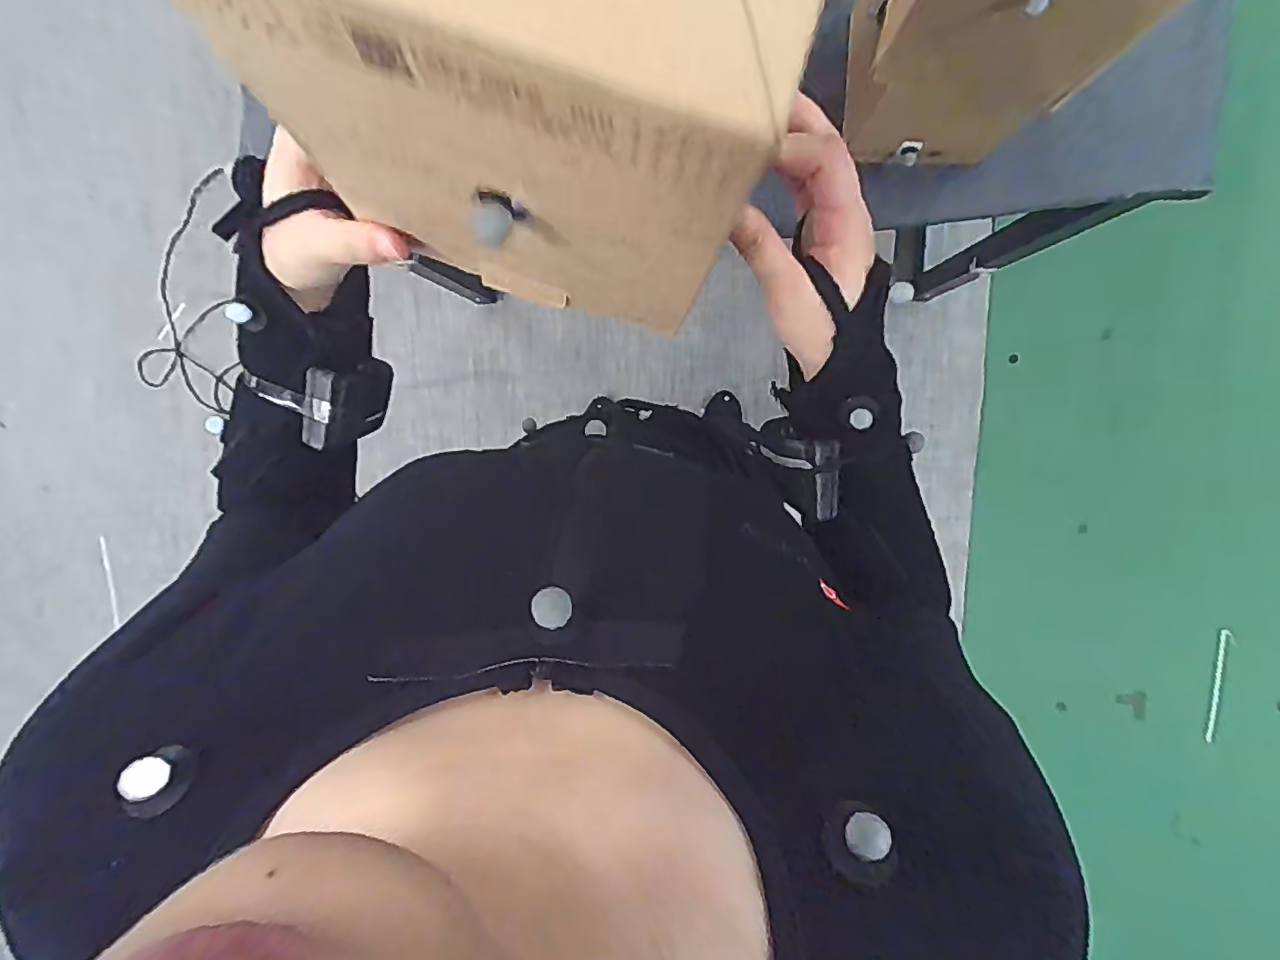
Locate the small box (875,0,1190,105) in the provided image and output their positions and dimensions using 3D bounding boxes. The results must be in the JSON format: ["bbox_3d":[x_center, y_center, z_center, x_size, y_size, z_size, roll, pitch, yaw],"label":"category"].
[{"bbox_3d":[0.313,-0.430,0.418,0.179,0.176,0.168,13,97,4],"label":"small box"}]

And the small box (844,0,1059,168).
[{"bbox_3d":[0.327,-0.463,0.577,0.168,0.176,0.179,2,98,5],"label":"small box"}]

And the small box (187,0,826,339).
[{"bbox_3d":[-0.028,-0.180,0.208,0.168,0.176,0.179,16,88,-6],"label":"small box"}]
